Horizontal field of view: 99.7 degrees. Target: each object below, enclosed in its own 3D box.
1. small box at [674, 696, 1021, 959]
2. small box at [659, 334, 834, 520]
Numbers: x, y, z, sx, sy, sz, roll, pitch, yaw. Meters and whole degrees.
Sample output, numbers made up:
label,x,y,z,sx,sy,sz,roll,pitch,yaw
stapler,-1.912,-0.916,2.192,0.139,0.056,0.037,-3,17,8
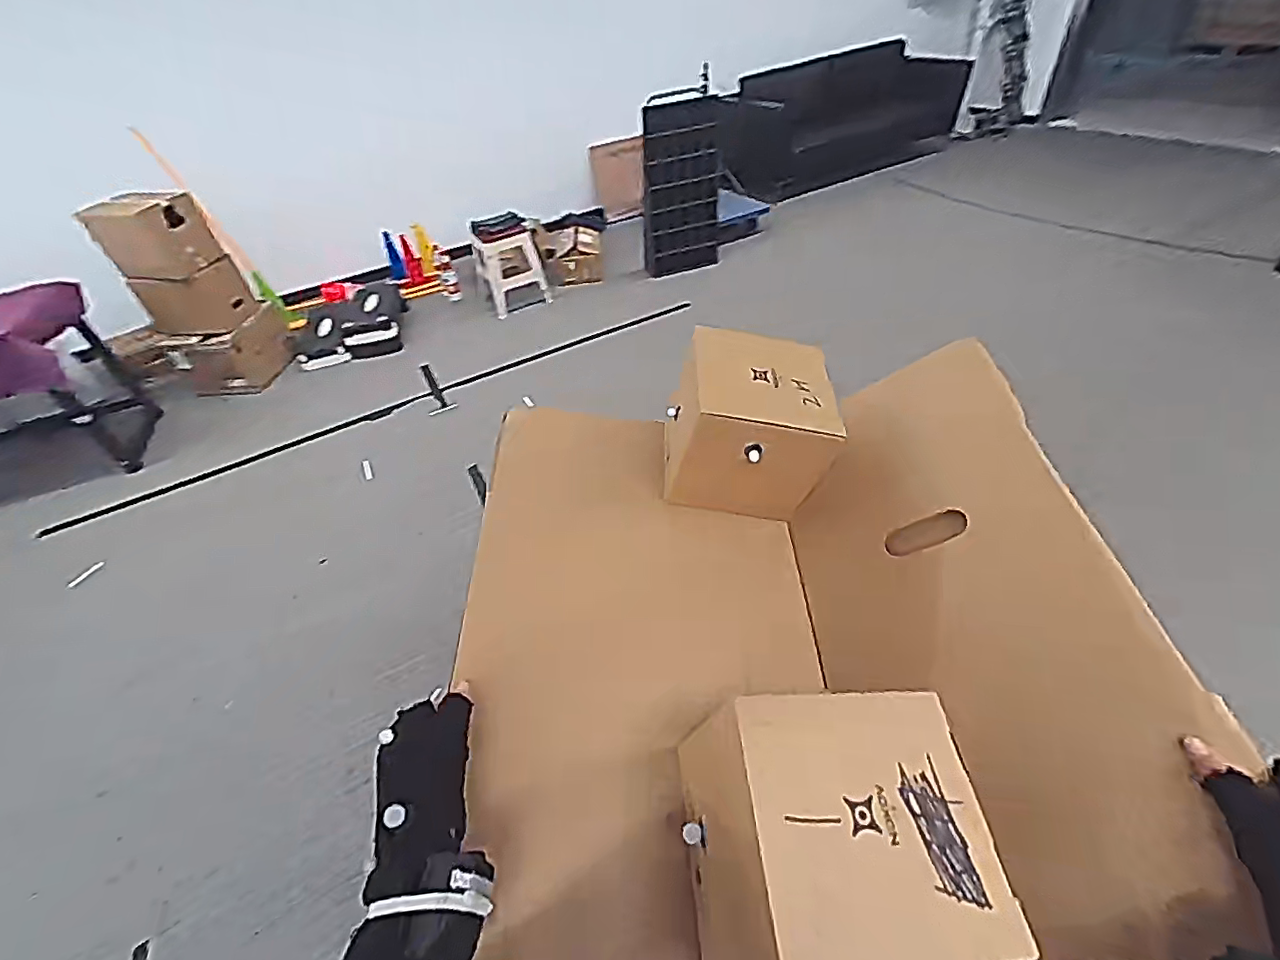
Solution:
label,x,y,z,sx,sy,sz,roll,pitch,yaw
small box,0.139,0.283,0.435,0.179,0.176,0.168,3,52,-11
small box,0.124,-0.064,0.715,0.179,0.176,0.168,9,50,-8
